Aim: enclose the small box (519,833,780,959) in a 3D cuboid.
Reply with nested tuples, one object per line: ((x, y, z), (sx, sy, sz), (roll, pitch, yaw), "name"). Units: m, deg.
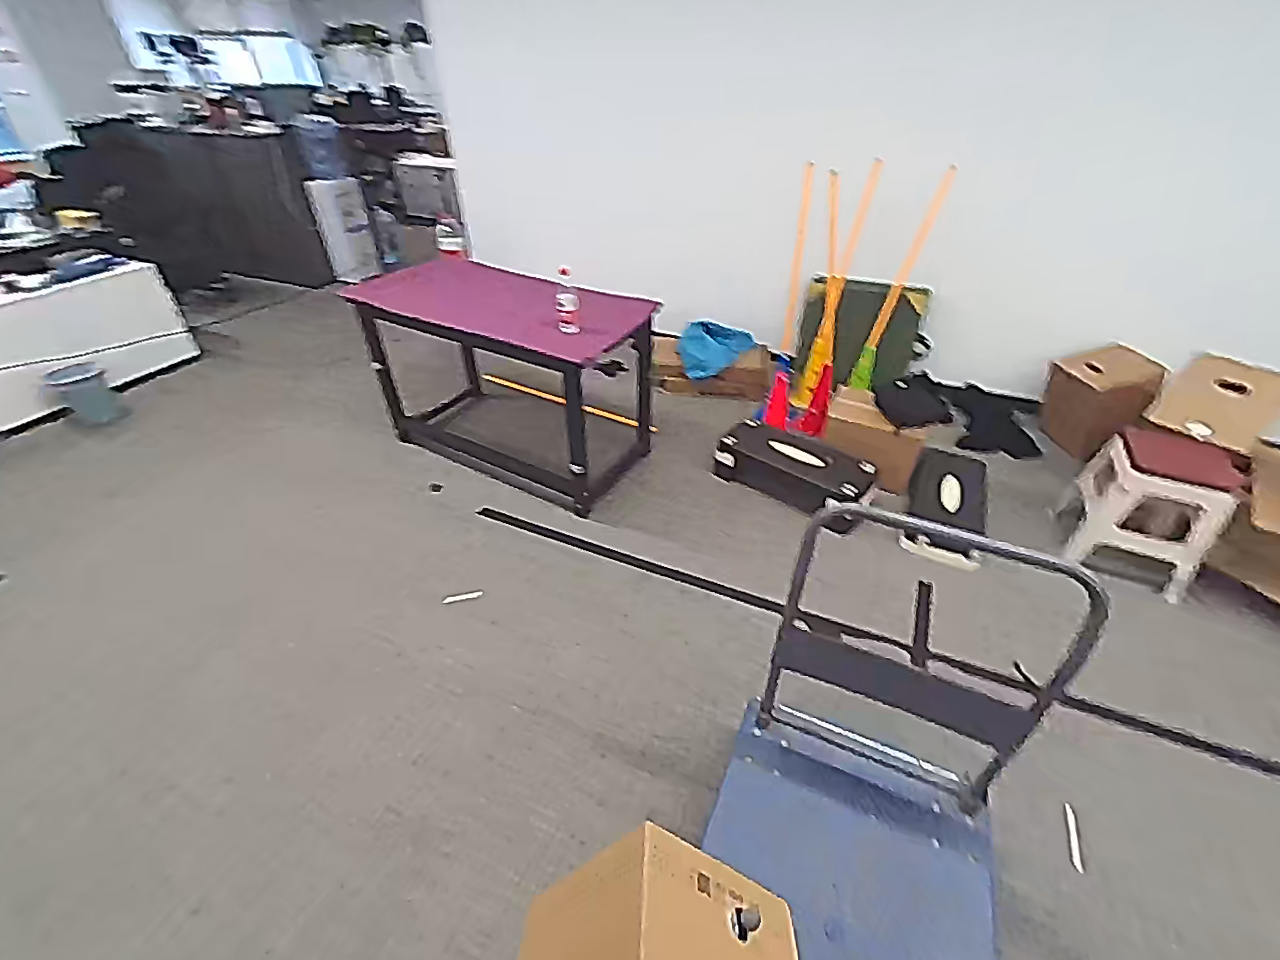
((0.004, 0.420, 0.417), (0.168, 0.179, 0.176), (37, 23, -15), "small box")
